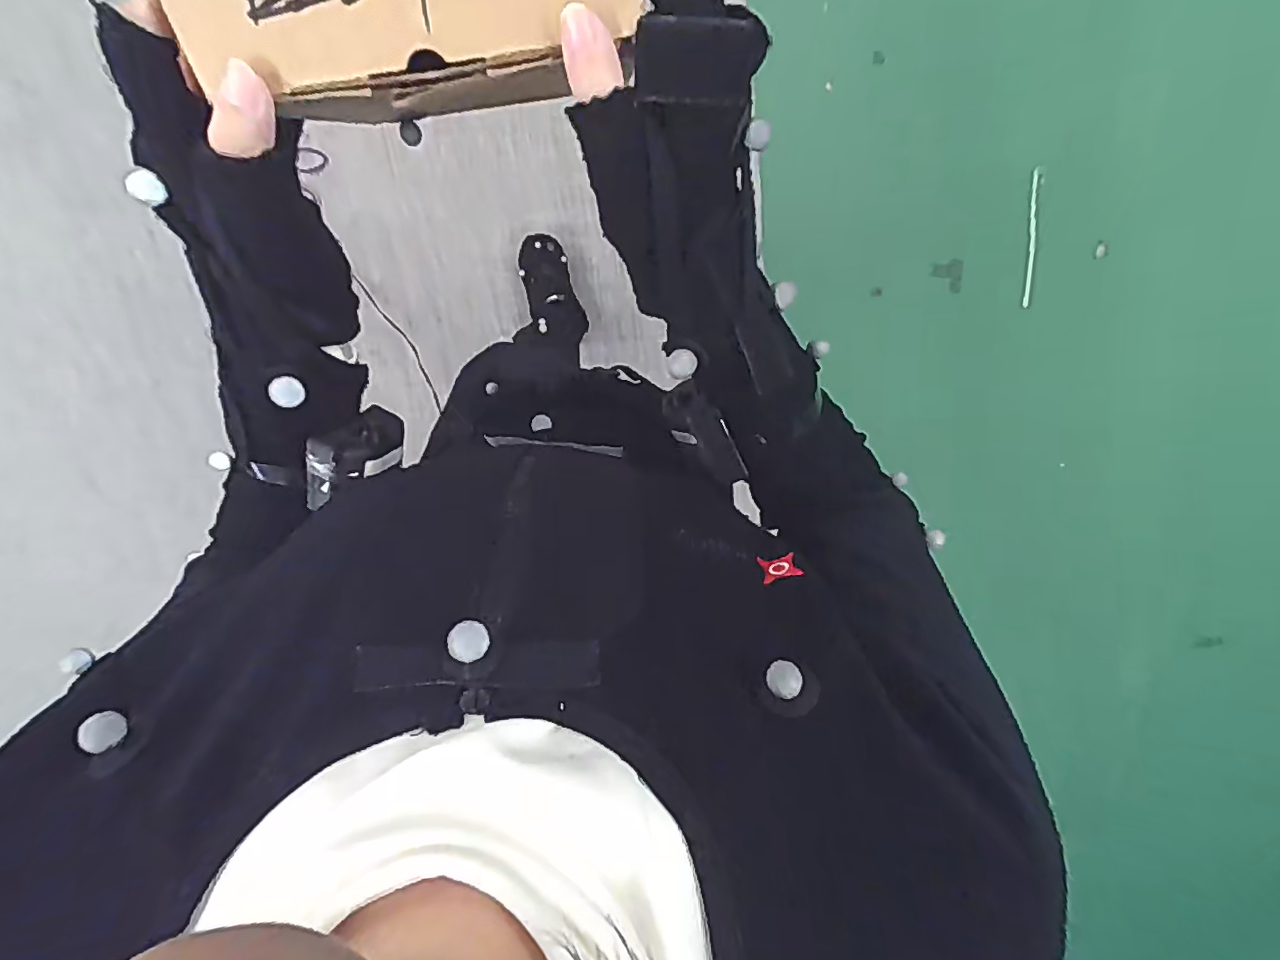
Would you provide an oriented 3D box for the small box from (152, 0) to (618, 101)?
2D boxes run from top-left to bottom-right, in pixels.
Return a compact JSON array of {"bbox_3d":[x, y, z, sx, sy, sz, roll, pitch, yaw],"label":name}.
[{"bbox_3d":[-0.100,-0.271,0.221,0.168,0.176,0.179,-8,121,1],"label":"small box"}]
